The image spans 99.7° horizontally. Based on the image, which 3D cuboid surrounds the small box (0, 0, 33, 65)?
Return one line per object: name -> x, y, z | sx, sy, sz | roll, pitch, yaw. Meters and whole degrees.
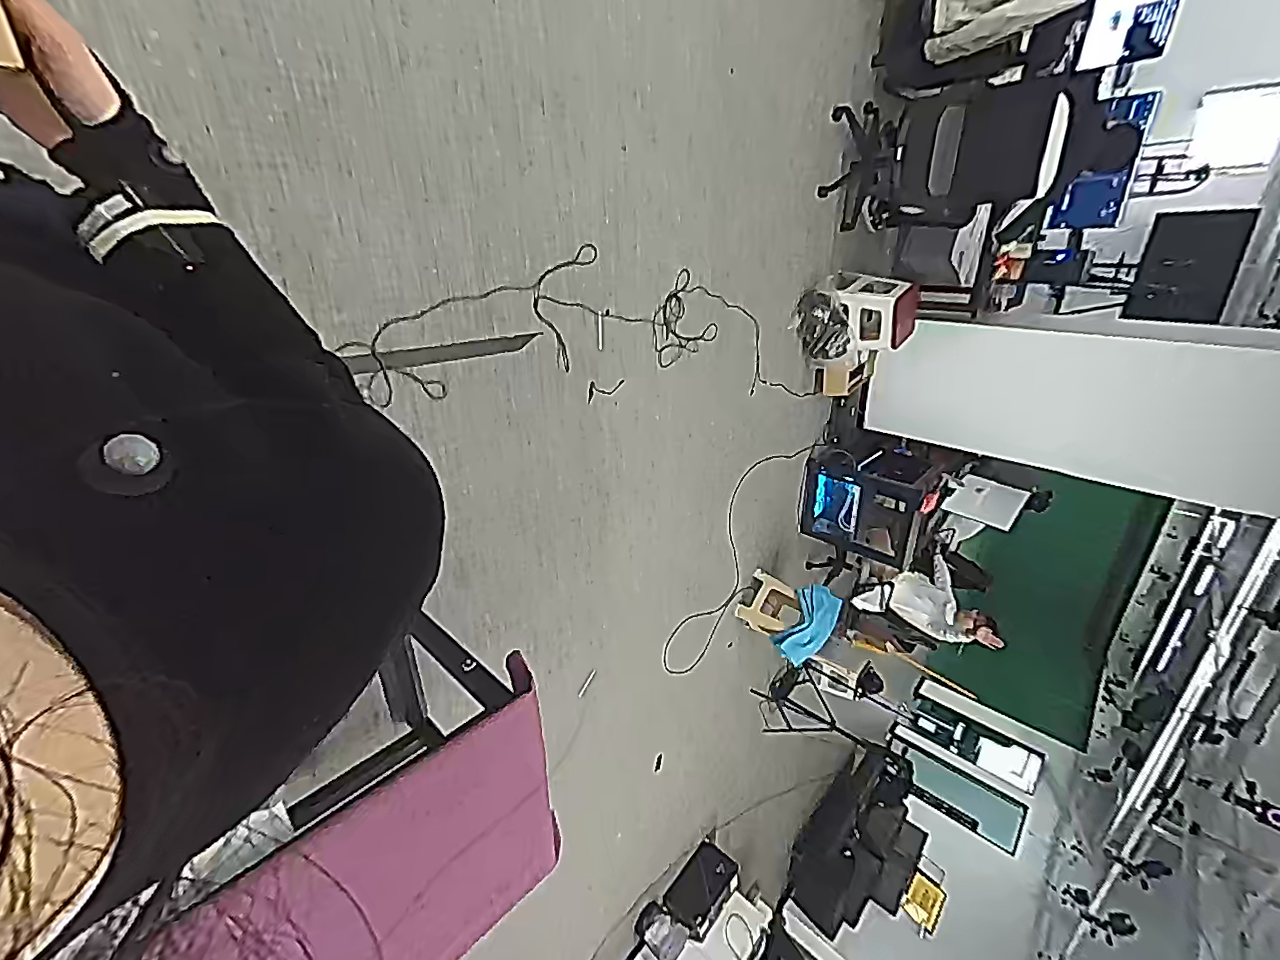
small box -> -0.418, -0.287, 0.223 | 0.179, 0.176, 0.168 | -27, 134, -43
